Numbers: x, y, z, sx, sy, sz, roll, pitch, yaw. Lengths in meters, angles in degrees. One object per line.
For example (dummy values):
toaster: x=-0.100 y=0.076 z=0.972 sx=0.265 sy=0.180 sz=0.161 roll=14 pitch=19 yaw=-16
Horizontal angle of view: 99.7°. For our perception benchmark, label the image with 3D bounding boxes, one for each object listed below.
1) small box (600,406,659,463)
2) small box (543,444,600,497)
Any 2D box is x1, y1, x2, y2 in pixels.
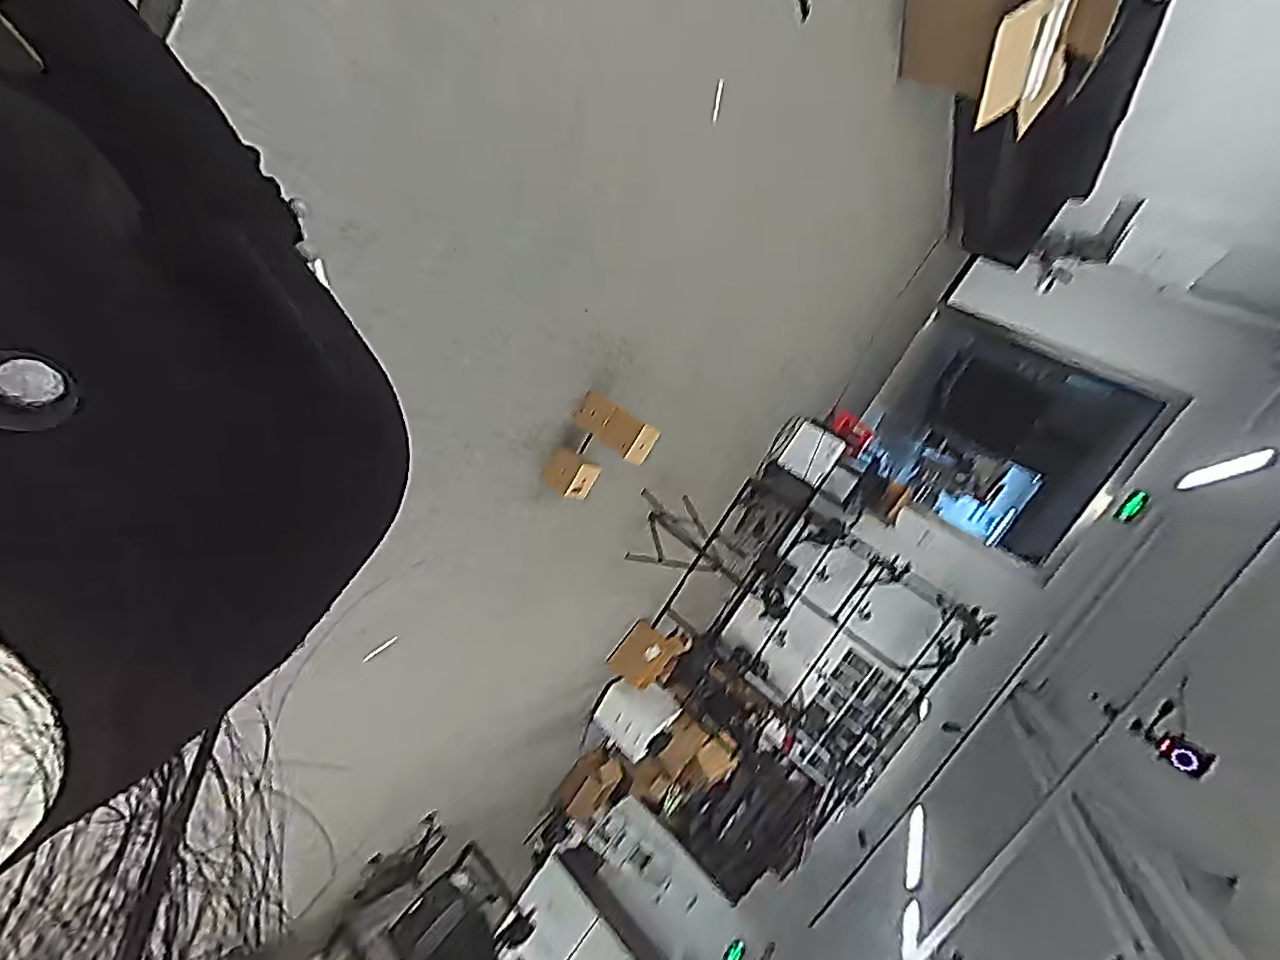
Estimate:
small box: x=-0.052 y=-0.202 z=2.401 sx=0.179 sy=0.176 sz=0.168 roll=-58 pitch=154 yaw=8
small box: x=-0.325 y=-0.043 z=2.521 sx=0.179 sy=0.176 sz=0.168 roll=-59 pitch=153 yaw=9
